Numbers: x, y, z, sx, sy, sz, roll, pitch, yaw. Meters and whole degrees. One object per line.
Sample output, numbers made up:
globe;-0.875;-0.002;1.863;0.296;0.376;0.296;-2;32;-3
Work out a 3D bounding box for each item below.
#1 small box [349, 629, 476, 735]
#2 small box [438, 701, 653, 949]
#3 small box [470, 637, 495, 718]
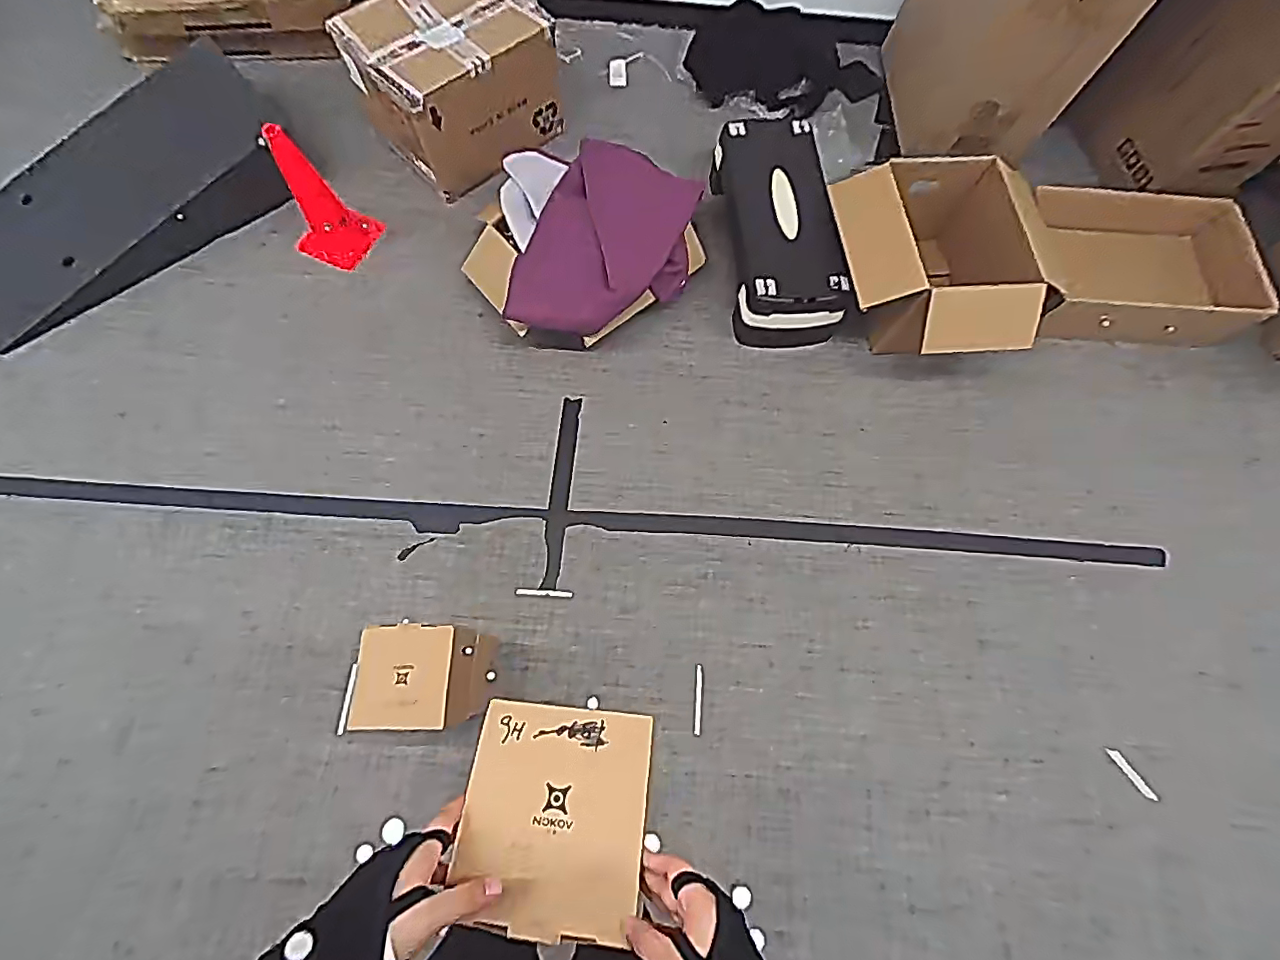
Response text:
small box;-0.419;0.379;1.026;0.168;0.176;0.179;0;72;-1
small box;-0.076;0.341;0.554;0.168;0.176;0.179;3;57;6
small box;-0.428;0.430;1.180;0.179;0.176;0.168;2;71;-2
